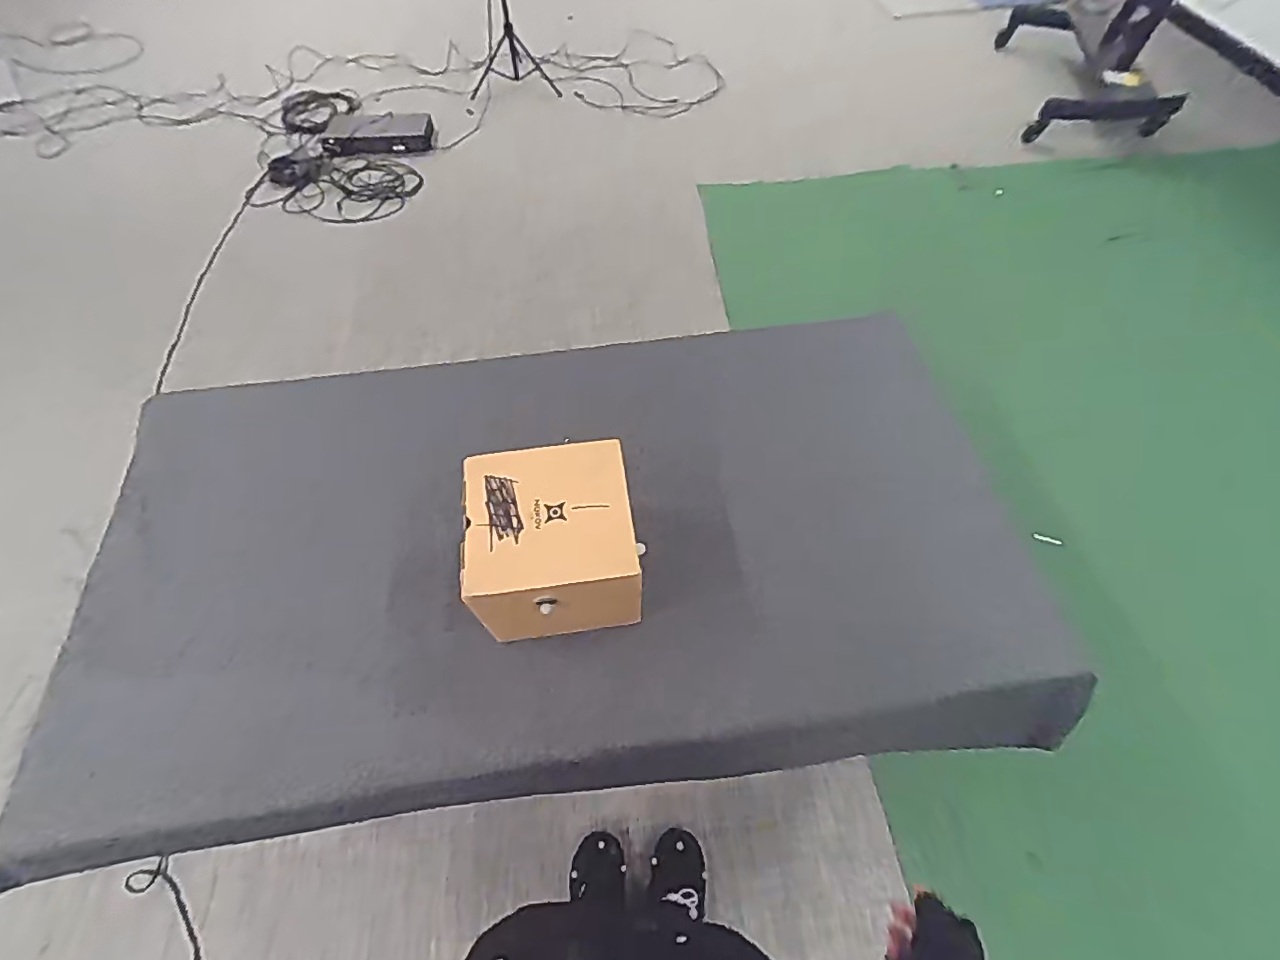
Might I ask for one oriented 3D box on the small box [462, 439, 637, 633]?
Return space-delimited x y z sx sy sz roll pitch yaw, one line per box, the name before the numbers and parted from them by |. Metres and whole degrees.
small box | -0.099 0.073 0.644 0.179 0.176 0.168 -7 60 -5
